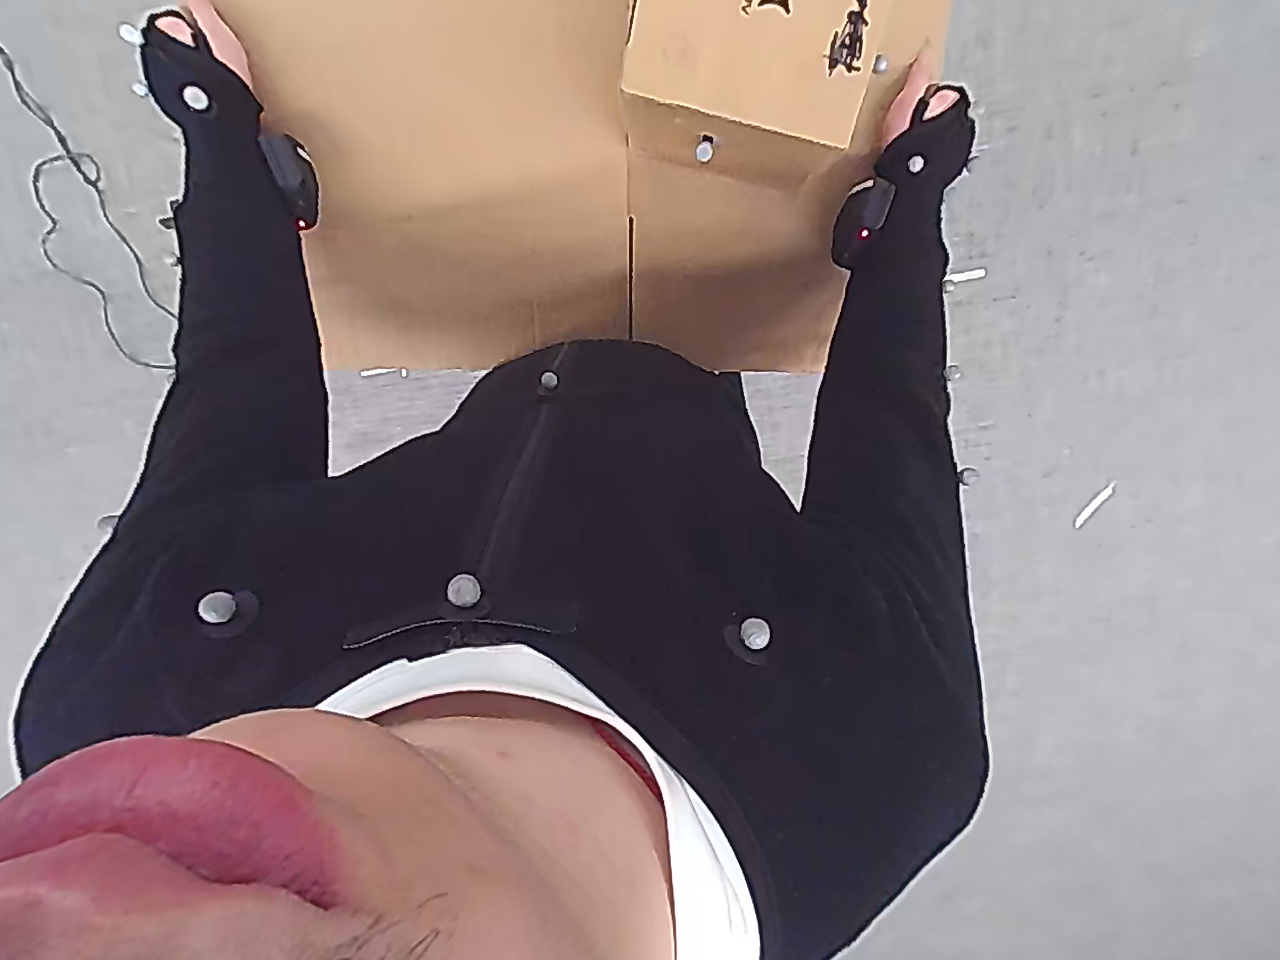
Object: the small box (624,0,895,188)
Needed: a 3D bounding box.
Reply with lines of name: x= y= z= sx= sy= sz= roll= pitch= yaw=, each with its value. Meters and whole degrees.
small box: x=0.096 y=-0.365 z=0.454 sx=0.179 sy=0.176 sz=0.168 roll=14 pitch=108 yaw=0
